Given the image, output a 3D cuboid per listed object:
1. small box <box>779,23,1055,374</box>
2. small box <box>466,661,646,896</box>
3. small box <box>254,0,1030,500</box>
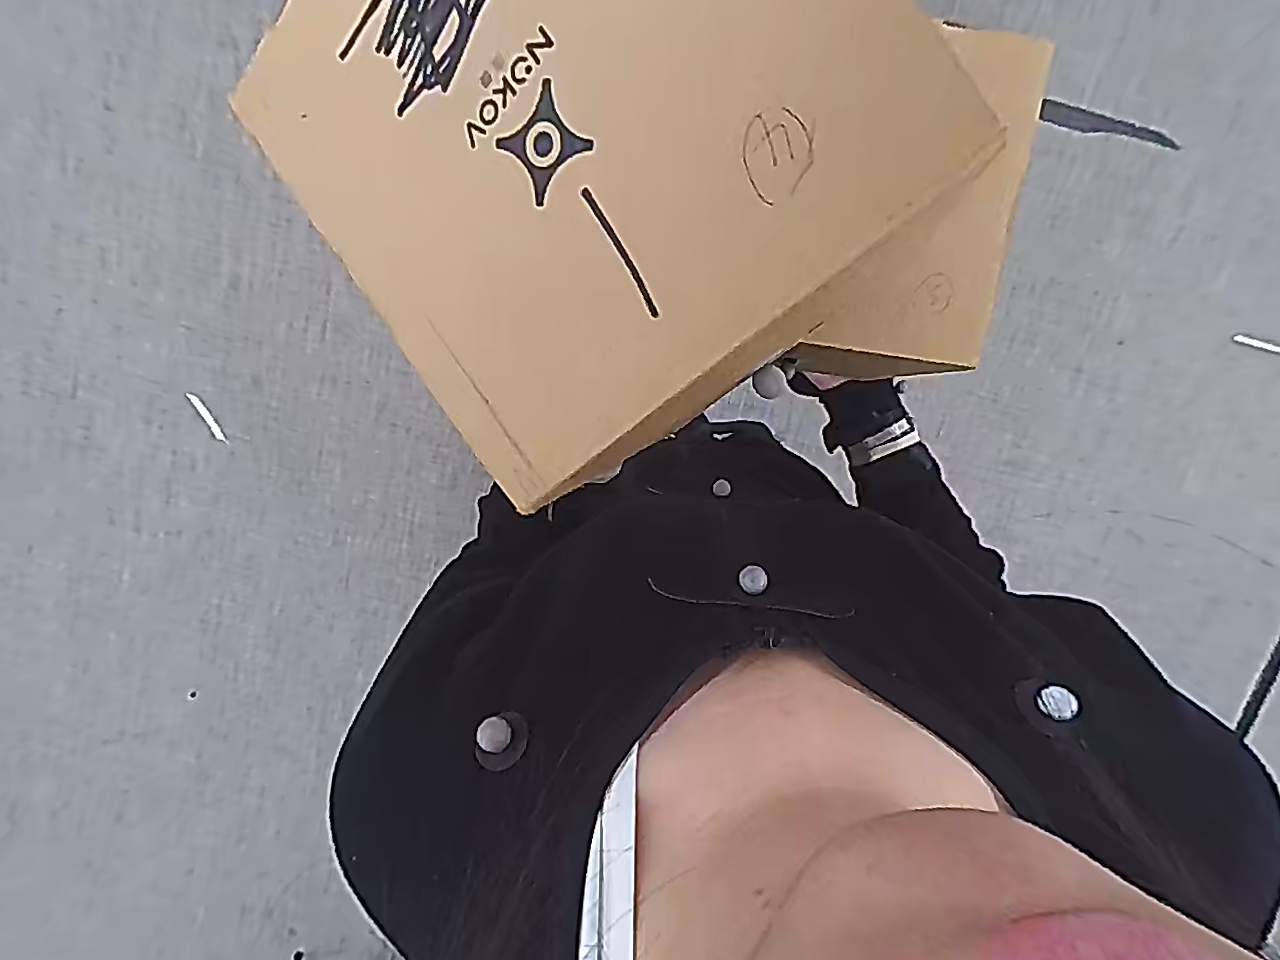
[{"bbox_3d":[0.129,-0.174,0.377,0.168,0.176,0.179,8,98,-1],"label":"small box"},{"bbox_3d":[-0.095,0.358,0.678,0.168,0.176,0.179,16,101,-1],"label":"small box"},{"bbox_3d":[0.004,-0.122,0.223,0.168,0.176,0.179,-35,91,26],"label":"small box"}]
